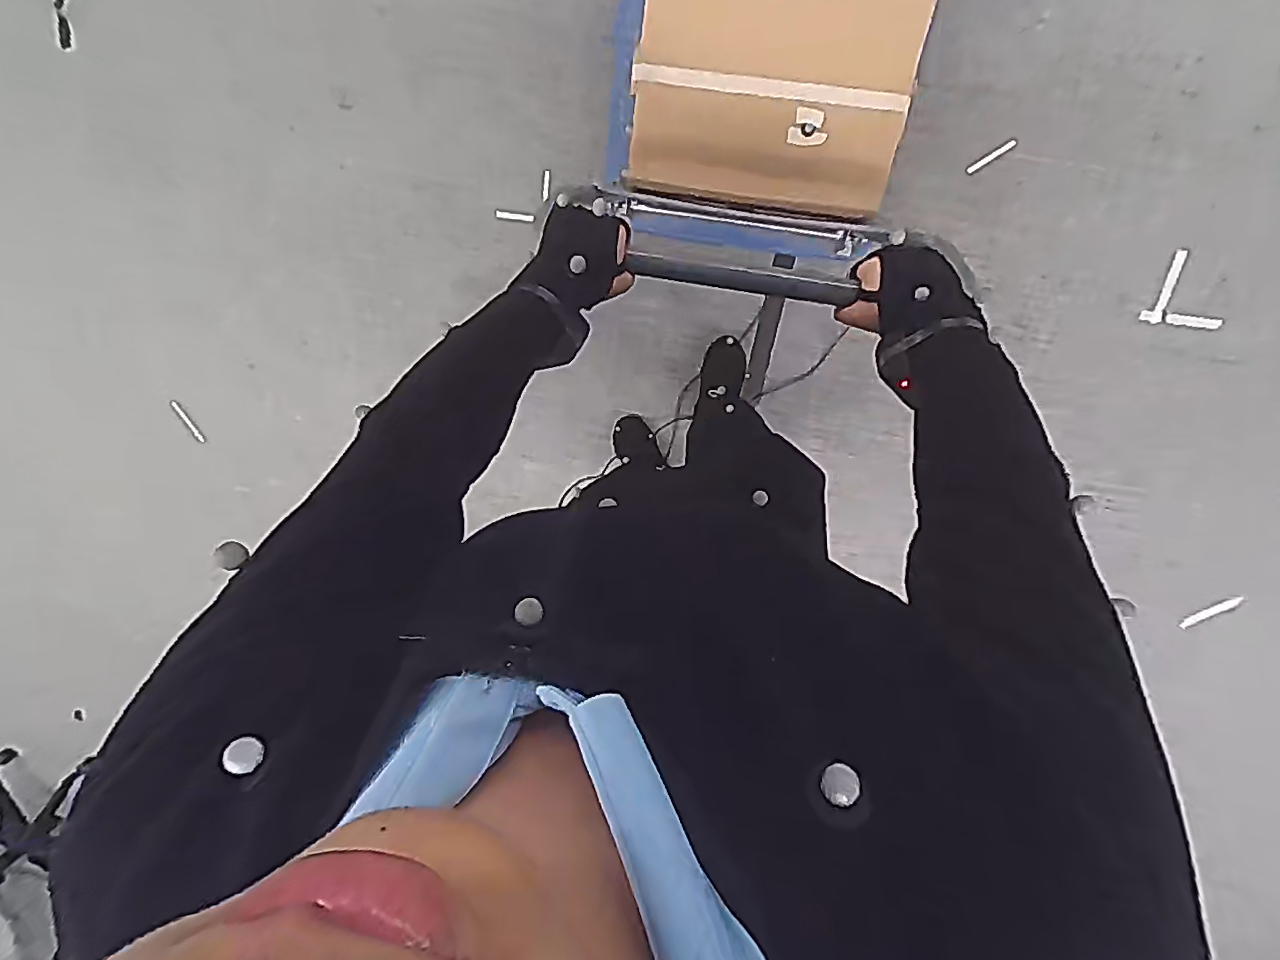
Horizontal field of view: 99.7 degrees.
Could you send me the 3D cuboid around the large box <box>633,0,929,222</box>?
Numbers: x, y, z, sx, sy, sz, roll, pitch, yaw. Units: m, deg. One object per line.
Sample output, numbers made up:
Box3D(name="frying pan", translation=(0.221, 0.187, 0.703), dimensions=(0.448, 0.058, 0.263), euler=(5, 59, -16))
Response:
Box3D(name="large box", translation=(0.212, -0.650, 0.957), dimensions=(0.408, 0.320, 0.320), euler=(9, 116, 3))
